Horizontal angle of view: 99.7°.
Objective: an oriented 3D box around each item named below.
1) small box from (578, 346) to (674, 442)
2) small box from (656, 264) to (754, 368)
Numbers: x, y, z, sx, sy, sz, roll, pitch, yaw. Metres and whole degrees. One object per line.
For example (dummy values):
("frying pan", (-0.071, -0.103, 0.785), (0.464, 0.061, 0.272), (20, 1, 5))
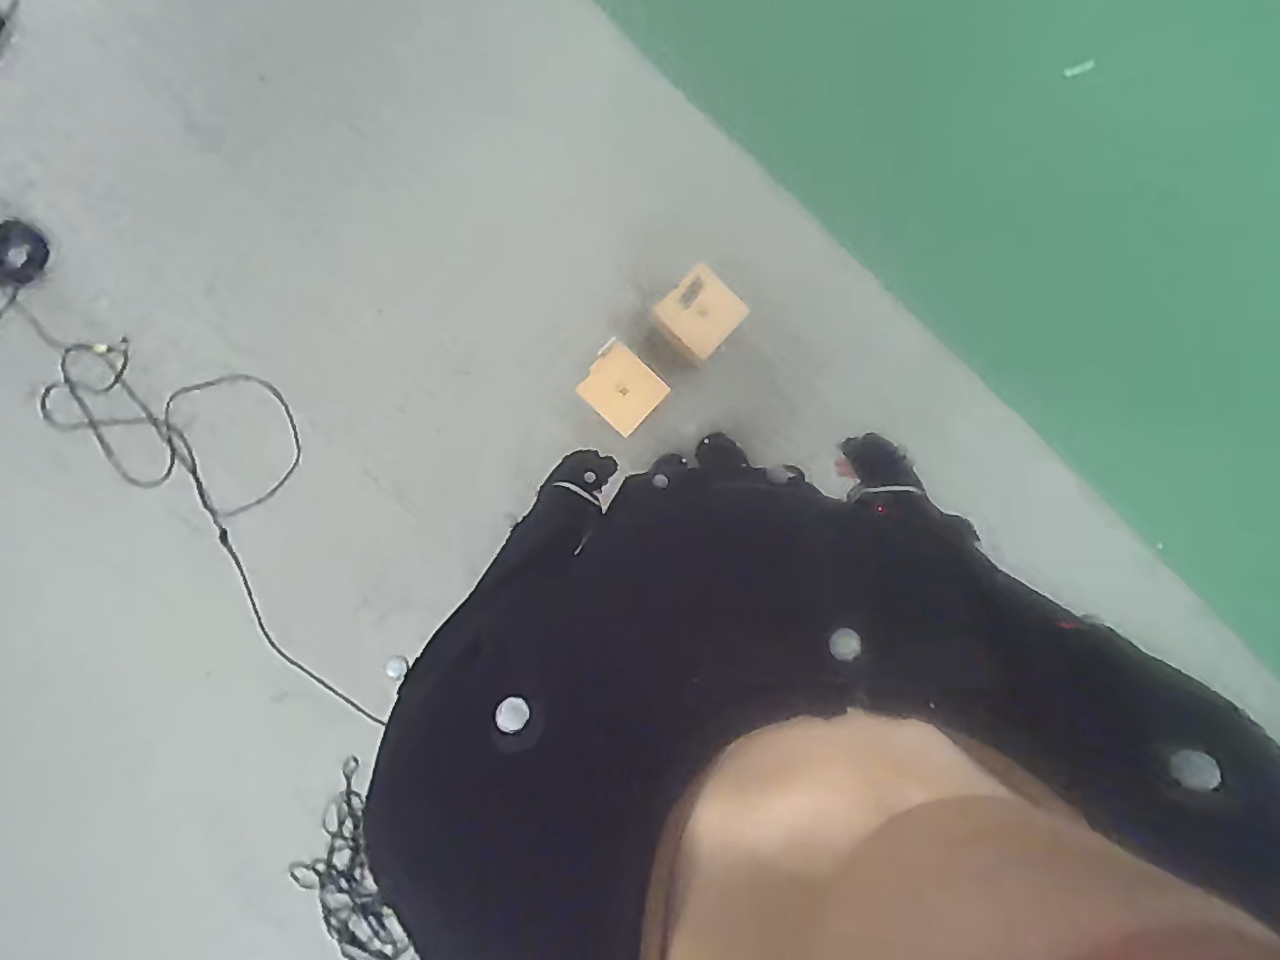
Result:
("small box", (-0.030, -0.216, 1.385), (0.179, 0.176, 0.168), (42, 95, -1))
("small box", (0.155, -0.401, 1.361), (0.179, 0.176, 0.168), (43, 95, -2))
